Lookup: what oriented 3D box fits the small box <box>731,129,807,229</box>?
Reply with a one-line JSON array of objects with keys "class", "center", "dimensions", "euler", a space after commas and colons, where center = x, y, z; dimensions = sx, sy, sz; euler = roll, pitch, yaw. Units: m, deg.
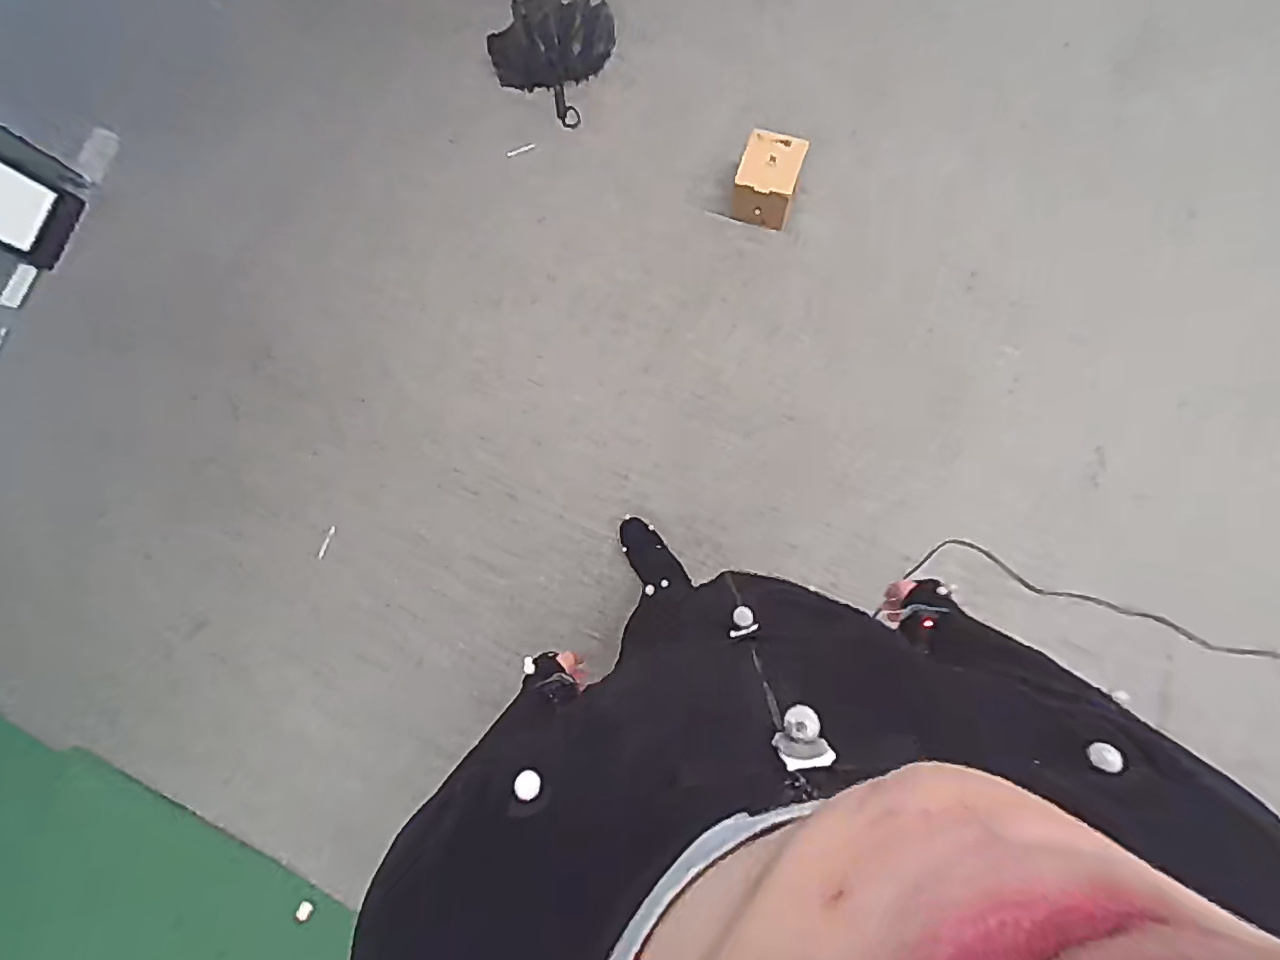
[{"class": "small box", "center": [0.369, -0.868, 1.574], "dimensions": [0.168, 0.176, 0.179], "euler": [20, 85, 9]}]
